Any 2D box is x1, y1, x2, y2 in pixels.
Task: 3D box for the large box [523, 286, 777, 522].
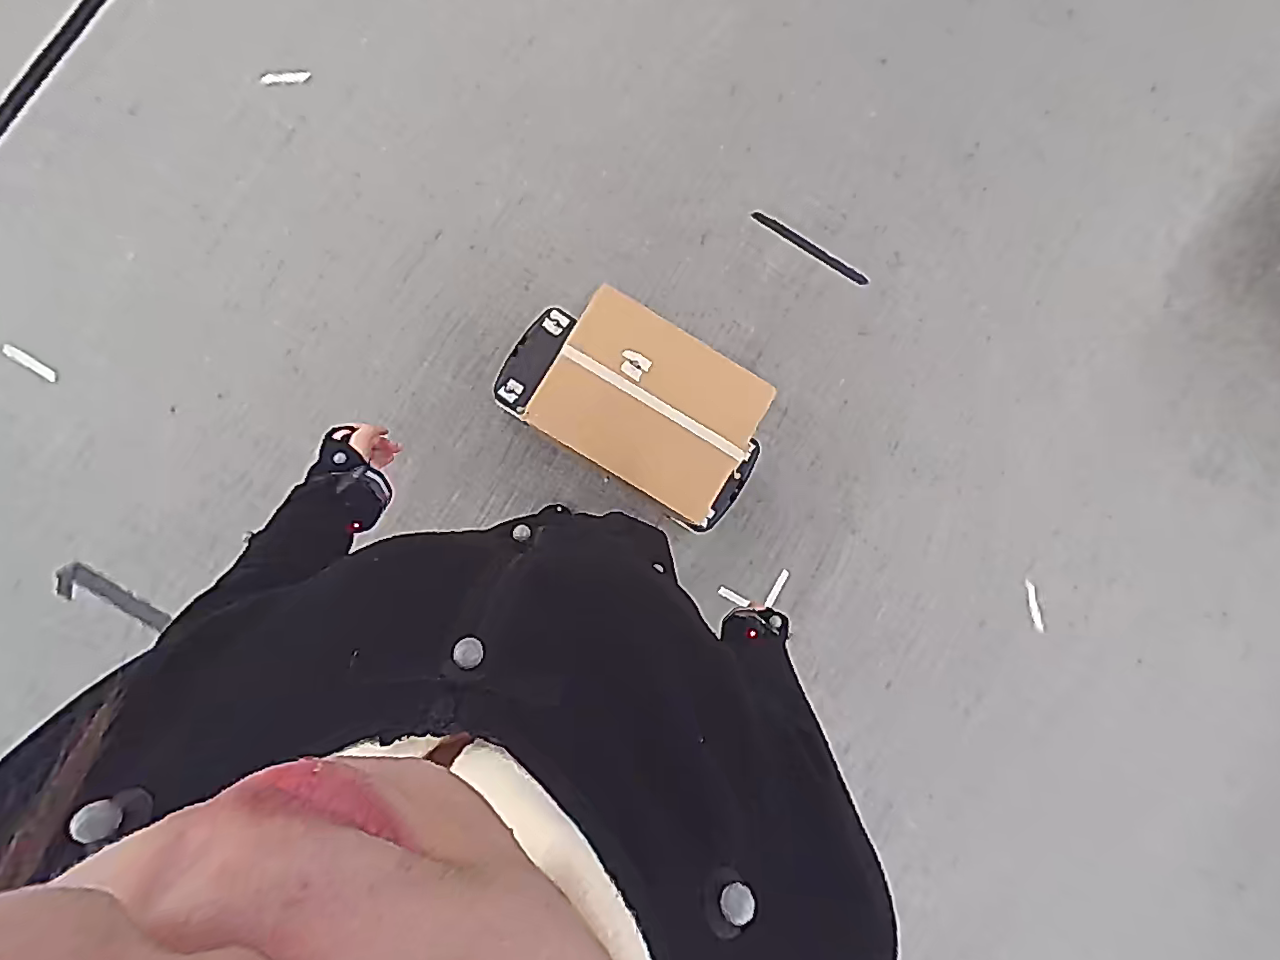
[{"bbox_3d":[0.017,-0.140,1.181,0.408,0.320,0.320,31,85,-1],"label":"large box"}]
